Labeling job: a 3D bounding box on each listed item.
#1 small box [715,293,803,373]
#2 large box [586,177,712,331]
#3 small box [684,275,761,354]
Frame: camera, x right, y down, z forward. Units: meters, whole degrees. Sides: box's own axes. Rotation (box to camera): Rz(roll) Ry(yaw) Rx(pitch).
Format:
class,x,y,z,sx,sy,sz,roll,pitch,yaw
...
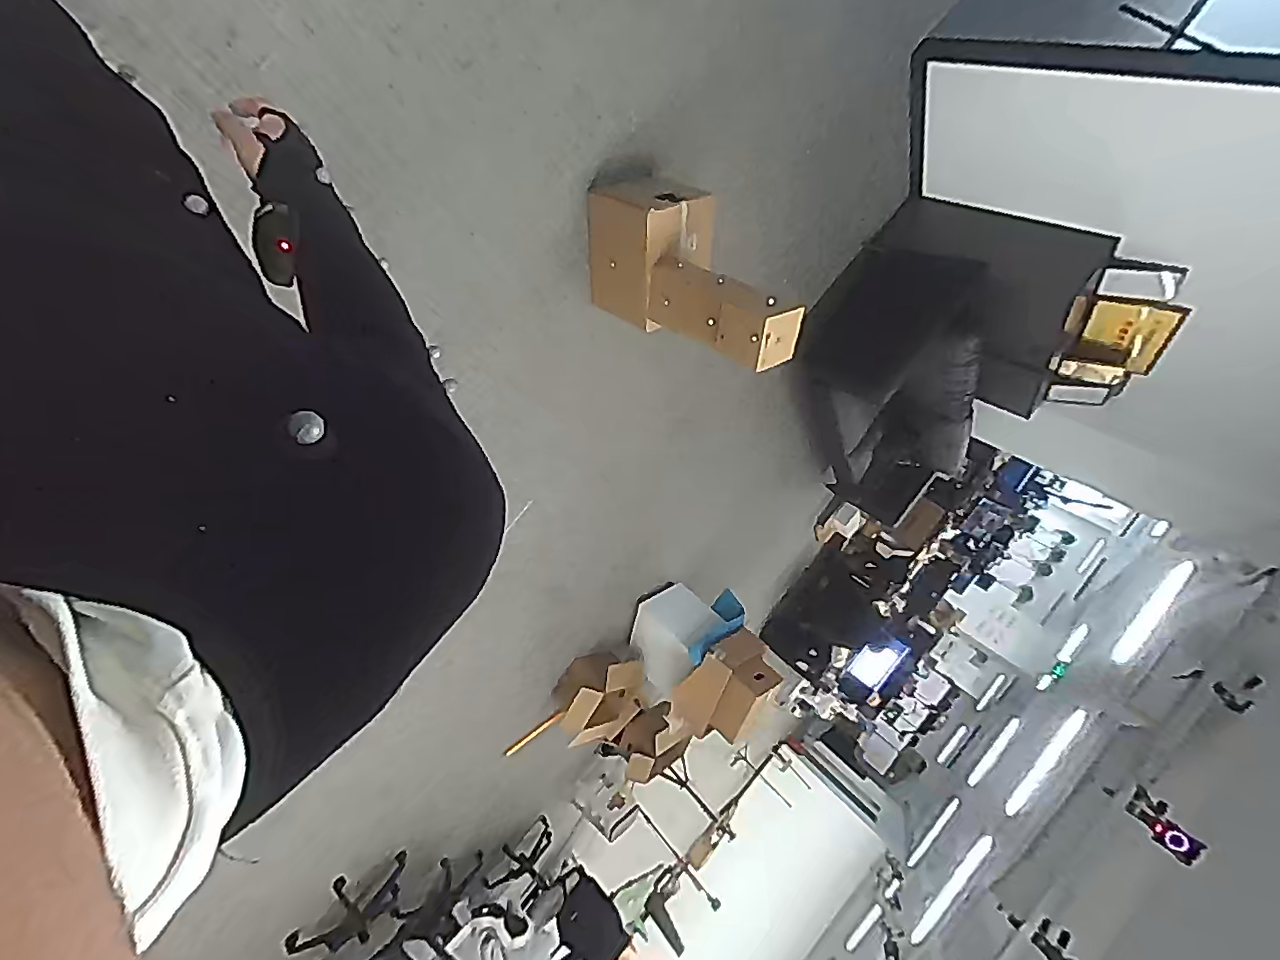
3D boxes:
class,x,y,z,sx,sy,sz,roll,pitch,yaw
small box,0.352,-0.445,1.612,0.179,0.176,0.168,-27,137,-33
large box,0.029,-0.810,1.926,0.320,0.320,0.408,-32,140,-30
small box,0.256,-0.528,1.717,0.168,0.176,0.179,-27,138,-31
